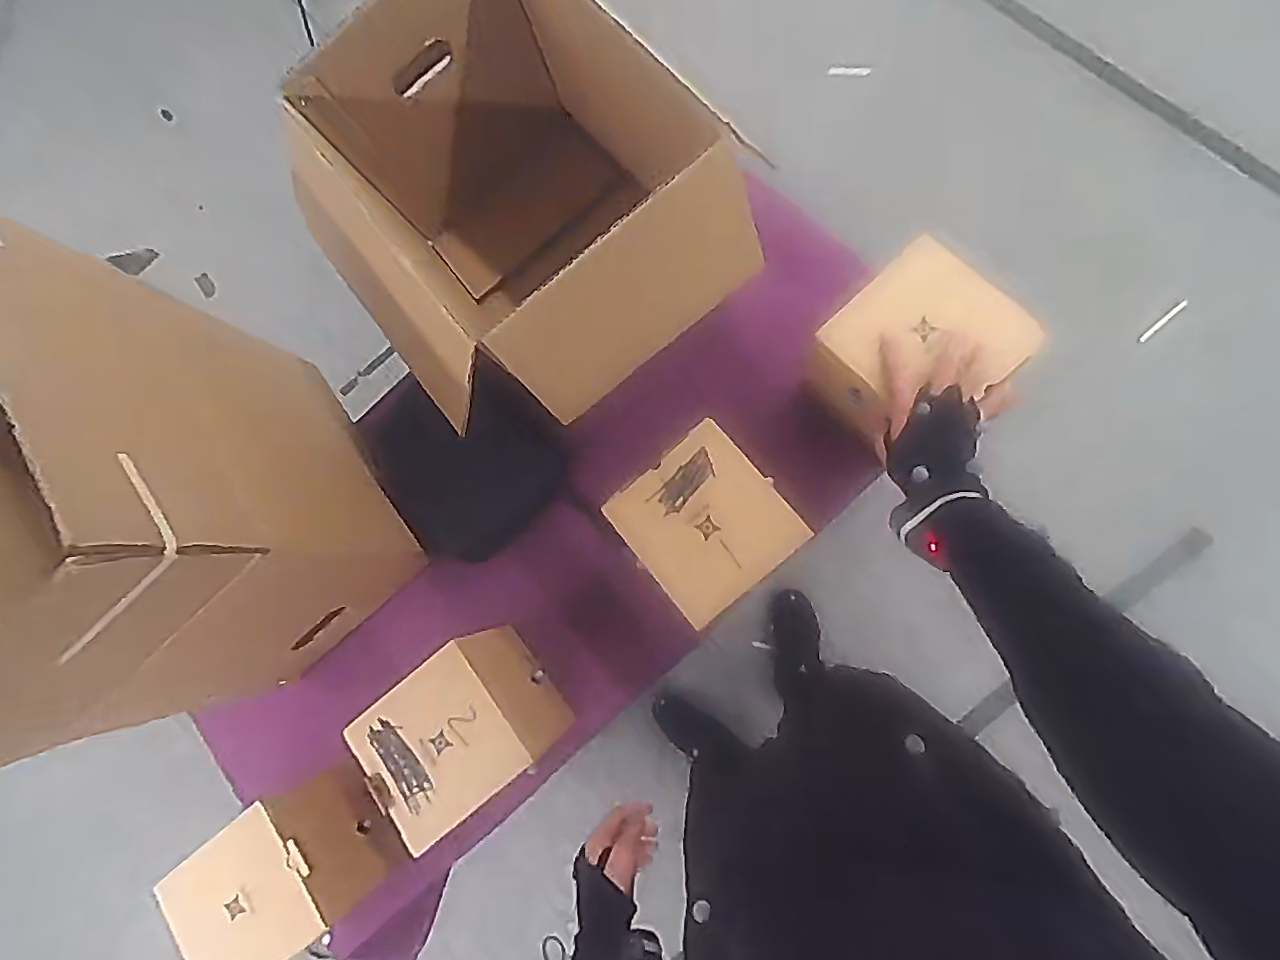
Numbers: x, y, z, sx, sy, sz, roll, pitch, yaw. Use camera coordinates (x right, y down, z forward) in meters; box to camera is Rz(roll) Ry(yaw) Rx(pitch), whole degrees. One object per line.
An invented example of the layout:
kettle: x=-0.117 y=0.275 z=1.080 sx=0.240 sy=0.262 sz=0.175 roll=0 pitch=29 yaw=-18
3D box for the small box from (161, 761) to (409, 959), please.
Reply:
small box: x=-0.445 y=0.509 z=0.702 sx=0.179 sy=0.176 sz=0.168 roll=-40 pitch=77 yaw=1

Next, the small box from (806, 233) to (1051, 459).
small box: x=0.323 y=-0.146 z=0.655 sx=0.168 sy=0.176 sz=0.179 roll=-42 pitch=77 yaw=3
